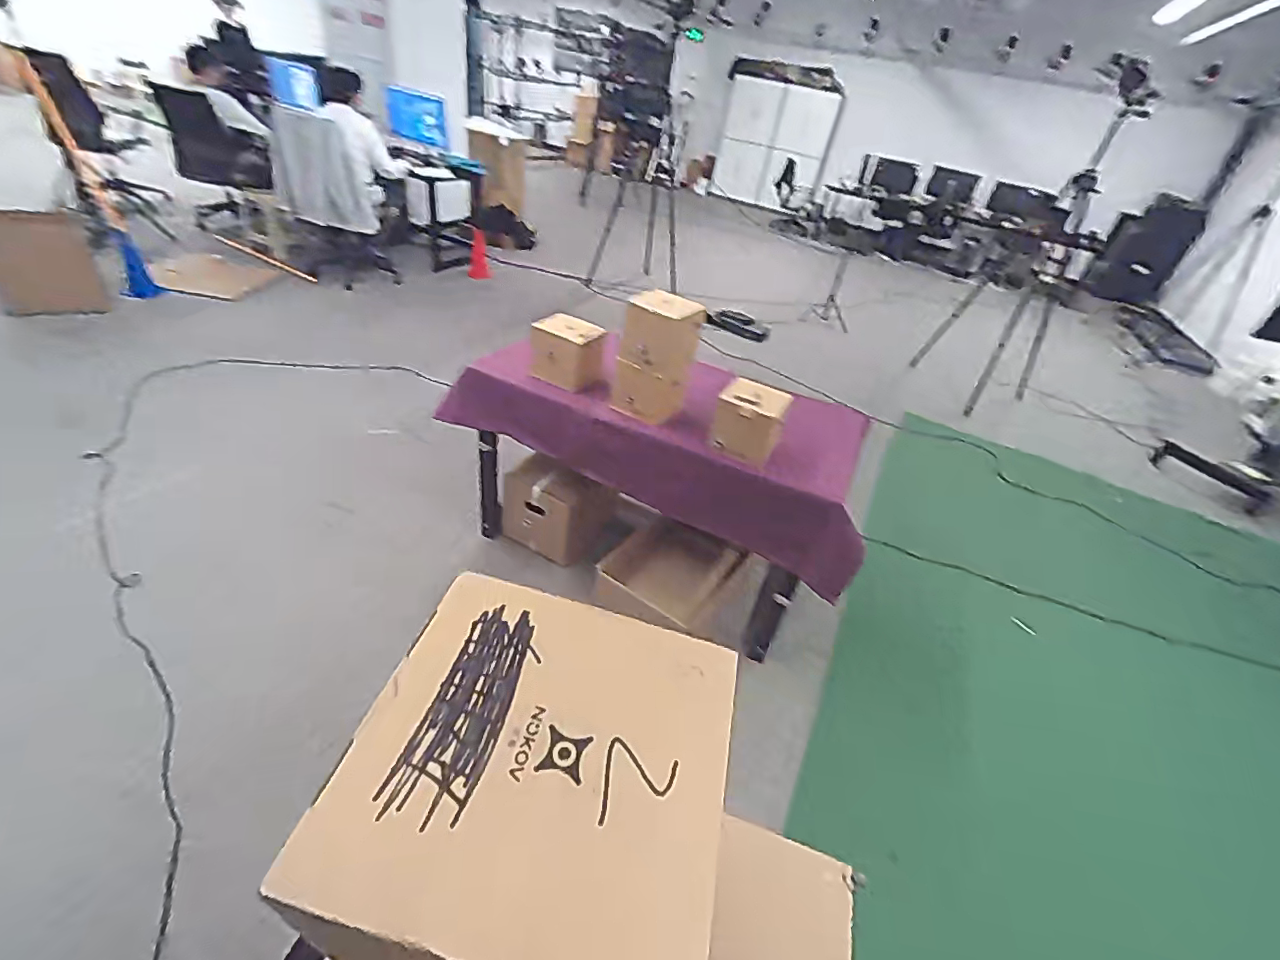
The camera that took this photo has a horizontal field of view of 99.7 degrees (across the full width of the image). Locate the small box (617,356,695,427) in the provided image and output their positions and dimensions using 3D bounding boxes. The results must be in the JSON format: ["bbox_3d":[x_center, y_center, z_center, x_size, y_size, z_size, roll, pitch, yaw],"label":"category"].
[{"bbox_3d":[0.043,-0.286,1.642,0.168,0.176,0.179,27,40,21],"label":"small box"}]

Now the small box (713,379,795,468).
[{"bbox_3d":[0.319,-0.160,1.538,0.168,0.176,0.179,24,37,18],"label":"small box"}]

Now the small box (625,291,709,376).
[{"bbox_3d":[0.073,-0.420,1.549,0.168,0.176,0.179,28,40,23],"label":"small box"}]

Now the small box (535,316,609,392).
[{"bbox_3d":[-0.219,-0.401,1.725,0.179,0.176,0.168,24,39,18],"label":"small box"}]

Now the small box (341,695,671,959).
[{"bbox_3d":[-0.089,0.306,0.426,0.179,0.176,0.168,15,41,5],"label":"small box"}]
